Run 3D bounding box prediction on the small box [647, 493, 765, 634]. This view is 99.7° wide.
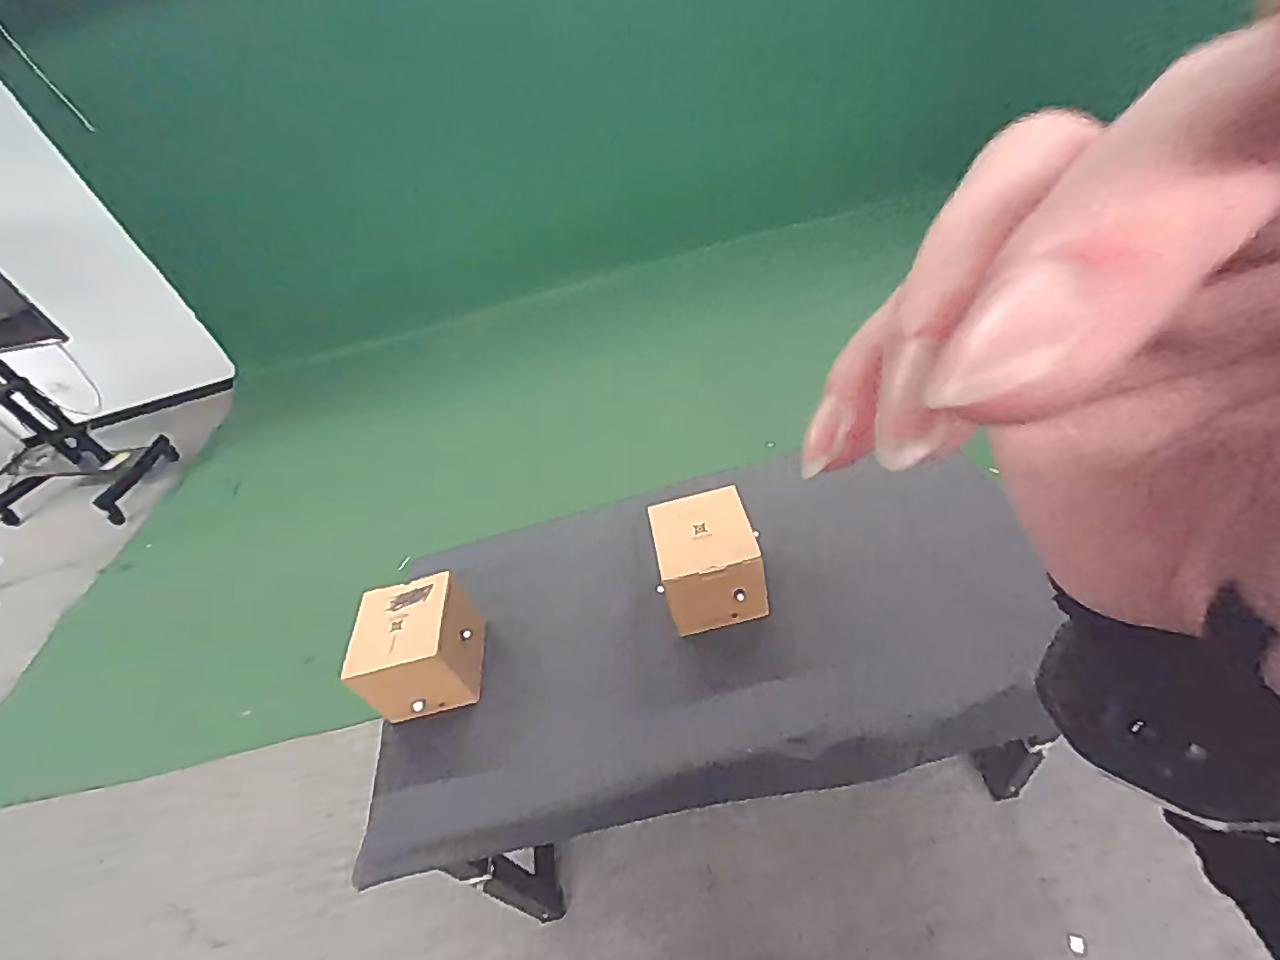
[{"bbox_3d":[0.120,0.157,0.978,0.168,0.176,0.179,-15,40,1],"label":"small box"}]

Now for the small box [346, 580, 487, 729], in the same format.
[{"bbox_3d":[-0.386,0.314,0.974,0.168,0.176,0.179,-16,42,2],"label":"small box"}]
